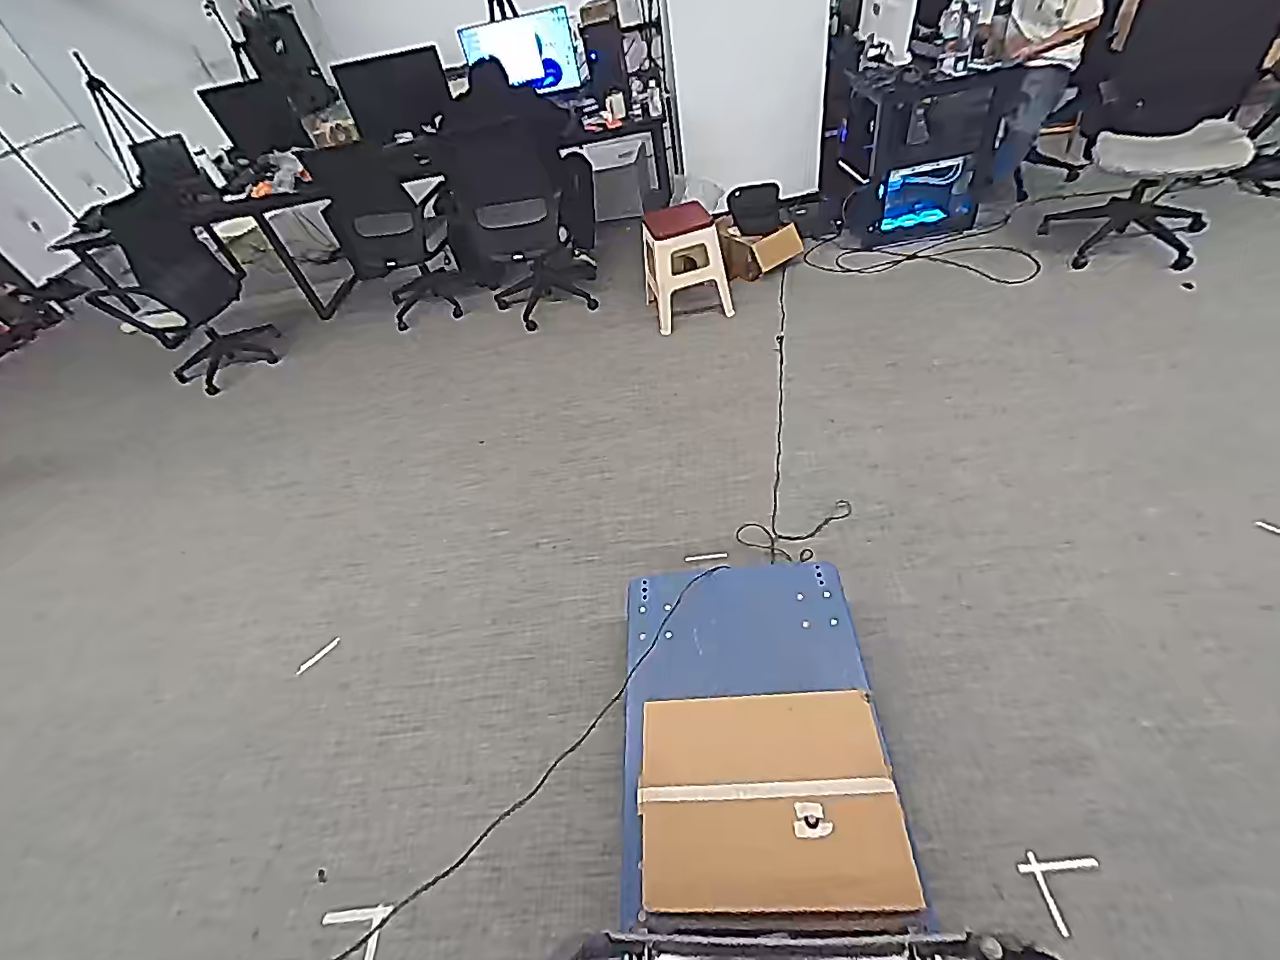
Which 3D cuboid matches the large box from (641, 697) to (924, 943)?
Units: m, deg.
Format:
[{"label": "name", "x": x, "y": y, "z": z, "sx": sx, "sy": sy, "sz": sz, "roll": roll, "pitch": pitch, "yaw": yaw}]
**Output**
[{"label": "large box", "x": 0.220, "y": 0.617, "z": 0.976, "sx": 0.408, "sy": 0.320, "sz": 0.320, "roll": -6, "pitch": 47, "yaw": 6}]
